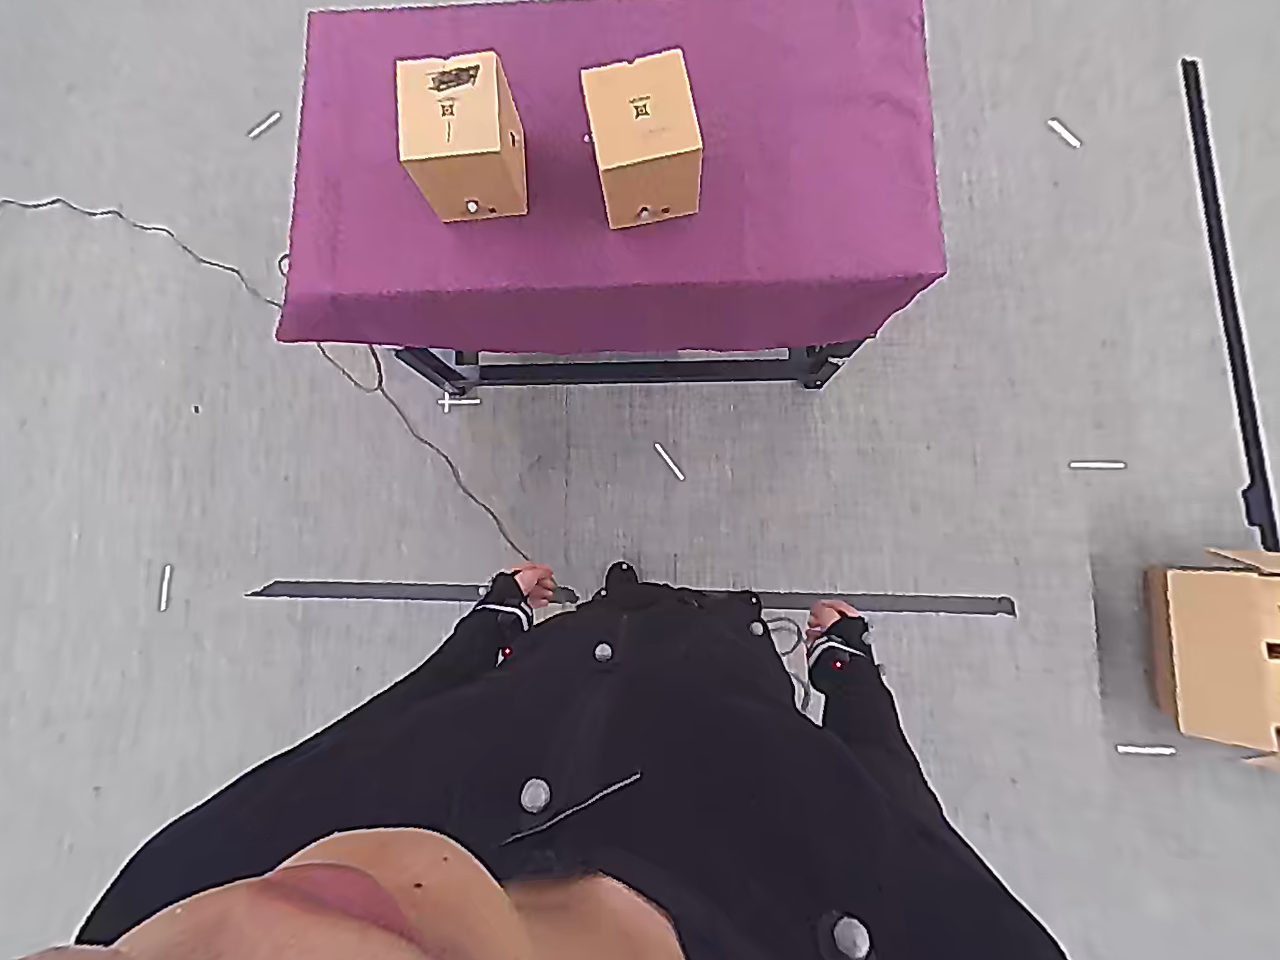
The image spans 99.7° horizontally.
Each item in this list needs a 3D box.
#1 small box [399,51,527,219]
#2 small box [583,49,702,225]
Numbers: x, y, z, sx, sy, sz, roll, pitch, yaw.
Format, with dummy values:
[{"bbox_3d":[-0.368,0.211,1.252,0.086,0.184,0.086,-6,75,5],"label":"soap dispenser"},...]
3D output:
[{"bbox_3d":[-0.300,-0.590,0.942,0.168,0.176,0.179,-5,83,3],"label":"small box"},{"bbox_3d":[0.005,-0.575,0.926,0.168,0.176,0.179,-11,82,2],"label":"small box"}]
